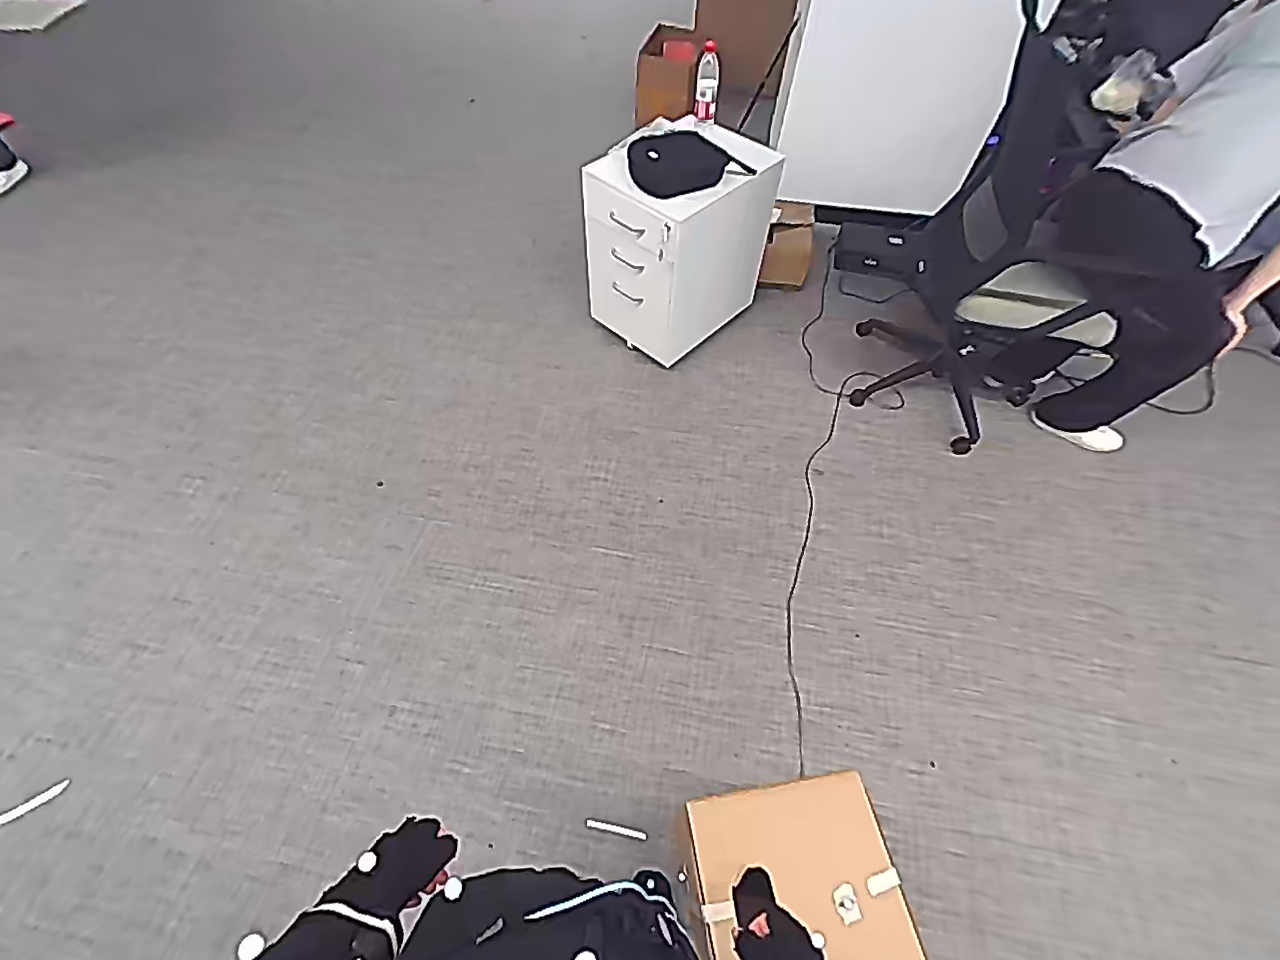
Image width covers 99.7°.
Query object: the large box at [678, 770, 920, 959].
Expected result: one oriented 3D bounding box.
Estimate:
[{"bbox_3d":[0.257,0.768,1.014,0.320,0.408,0.320,-8,55,-4],"label":"large box"}]
